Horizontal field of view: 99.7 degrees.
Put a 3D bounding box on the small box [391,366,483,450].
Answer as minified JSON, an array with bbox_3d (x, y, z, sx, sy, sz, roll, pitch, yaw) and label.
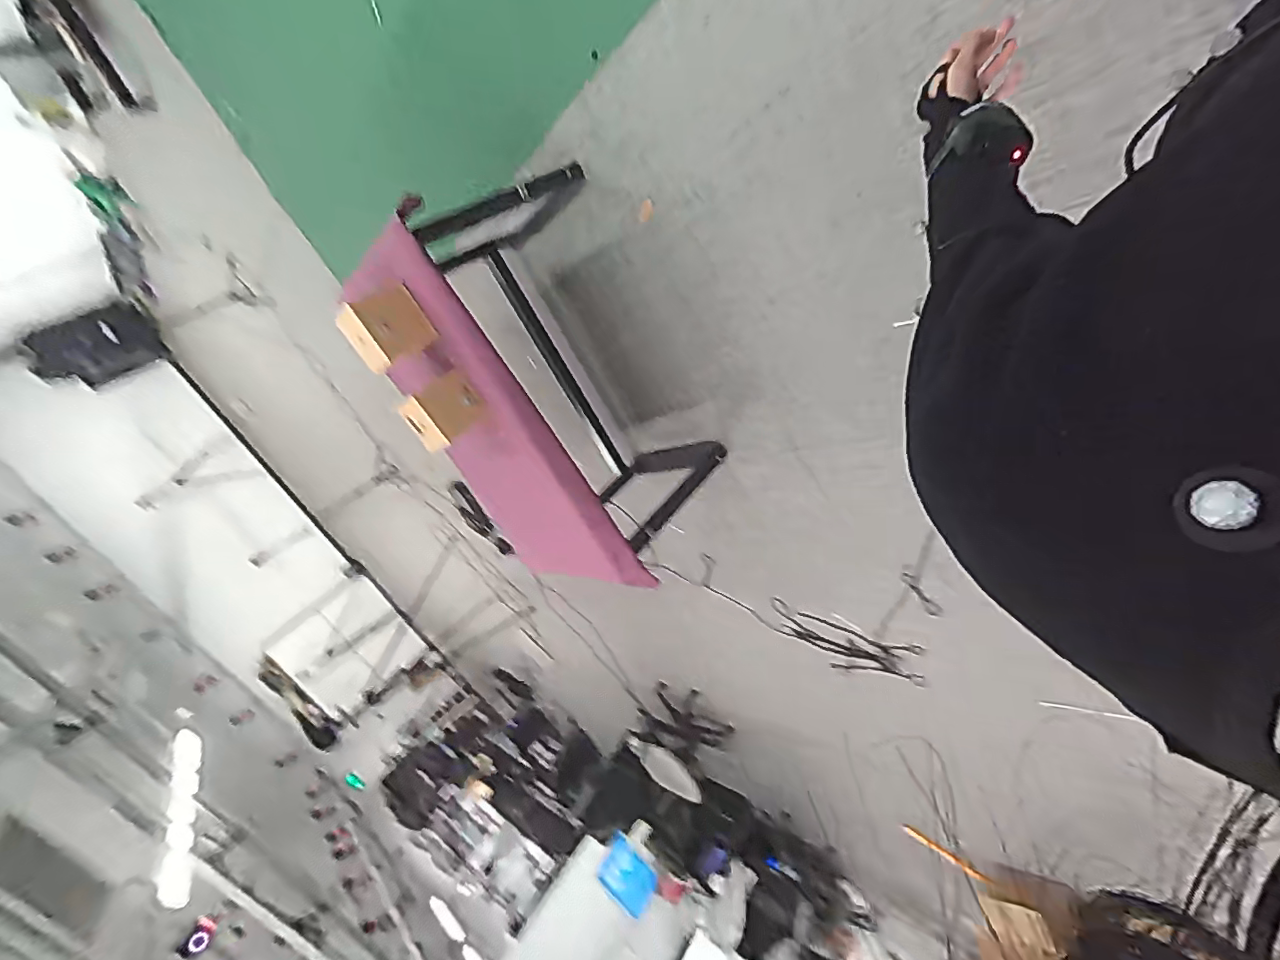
[{"bbox_3d":[-0.599,-0.212,1.606,0.179,0.176,0.168,-13,116,51],"label":"small box"}]

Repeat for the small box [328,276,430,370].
[{"bbox_3d":[-0.718,-0.433,1.499,0.168,0.176,0.179,-4,123,49],"label":"small box"}]
